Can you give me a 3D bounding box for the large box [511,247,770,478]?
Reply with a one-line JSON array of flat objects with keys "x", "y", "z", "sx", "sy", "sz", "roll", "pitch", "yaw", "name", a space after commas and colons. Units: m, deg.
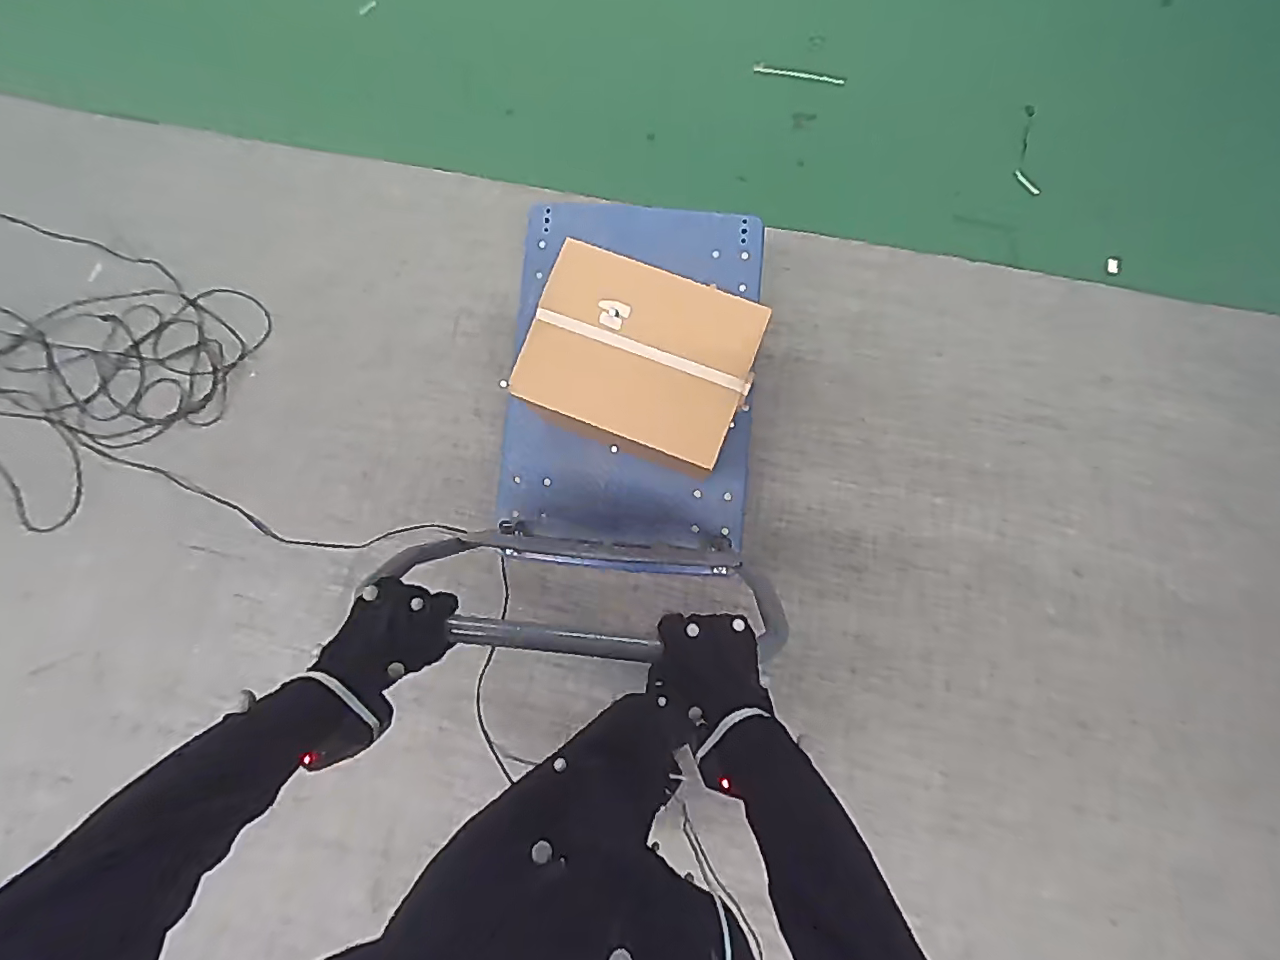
[{"x": 0.011, "y": -0.216, "z": 1.122, "sx": 0.408, "sy": 0.320, "sz": 0.320, "roll": 20, "pitch": 87, "yaw": 6, "name": "large box"}]
